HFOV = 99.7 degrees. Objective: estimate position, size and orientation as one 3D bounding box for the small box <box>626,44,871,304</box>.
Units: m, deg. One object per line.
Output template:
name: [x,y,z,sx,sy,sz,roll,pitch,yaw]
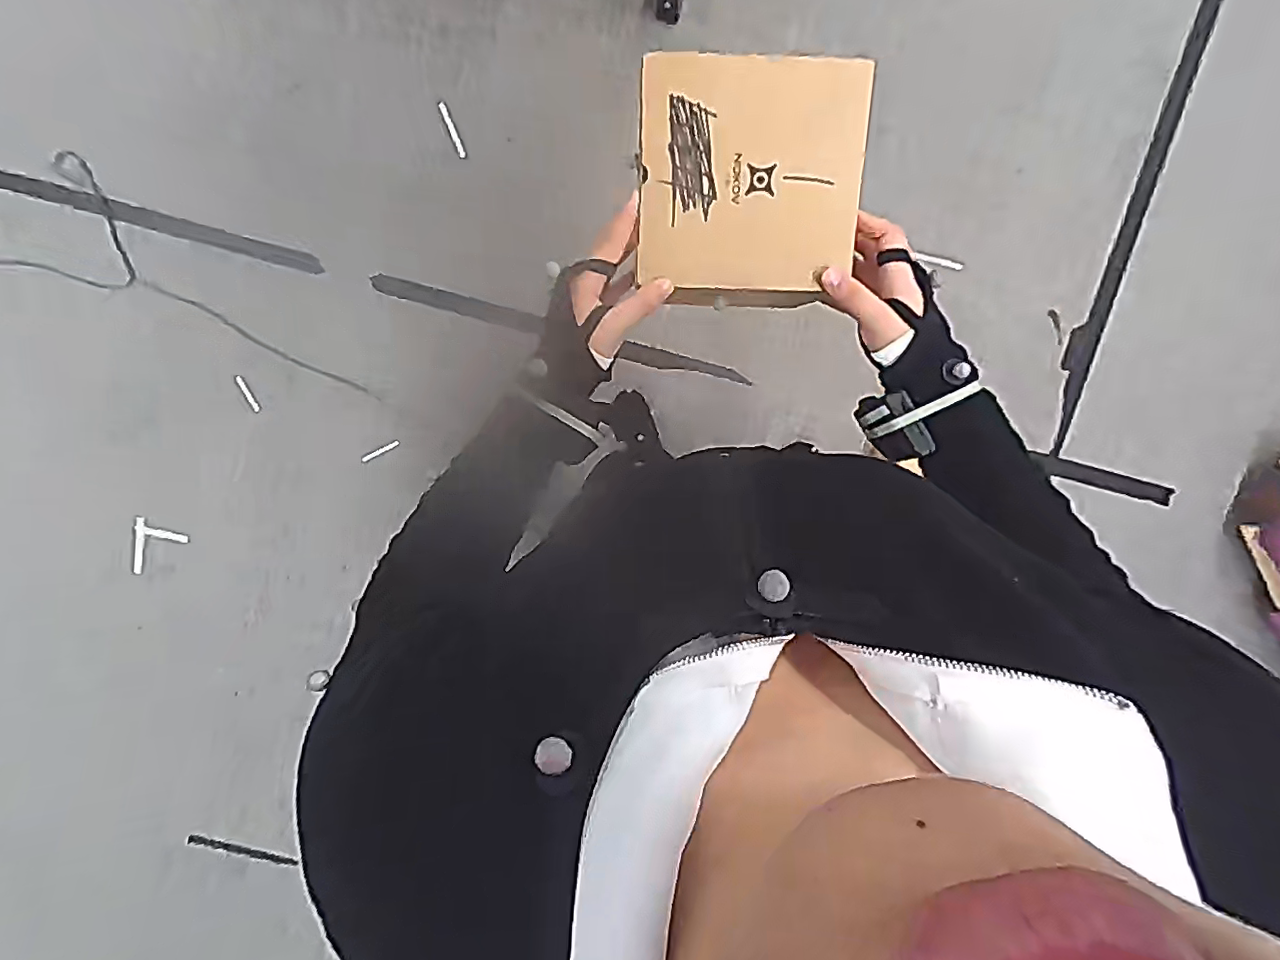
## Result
small box: [0.080,-0.252,0.488,0.179,0.176,0.168,2,104,0]
